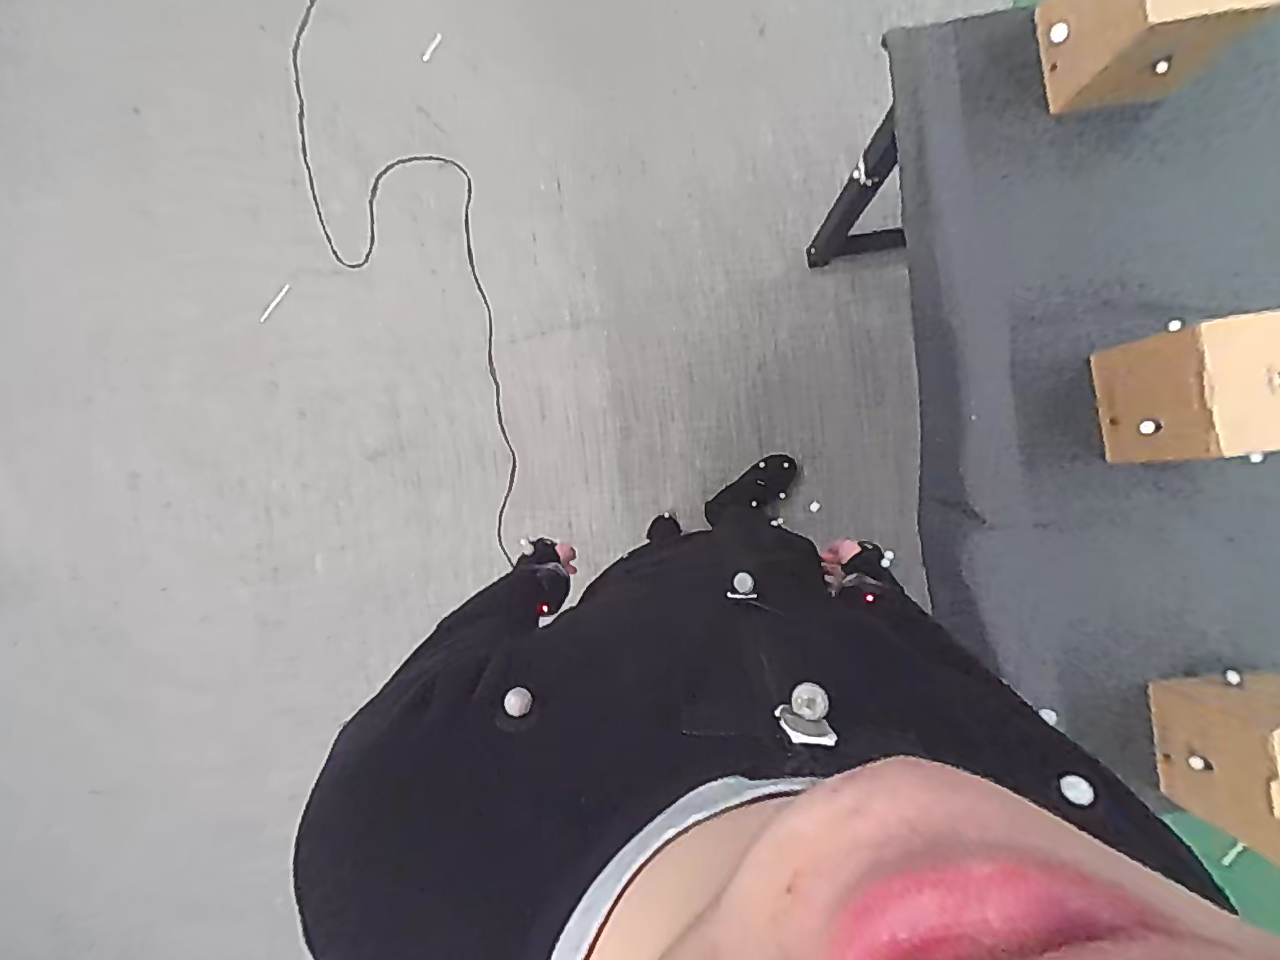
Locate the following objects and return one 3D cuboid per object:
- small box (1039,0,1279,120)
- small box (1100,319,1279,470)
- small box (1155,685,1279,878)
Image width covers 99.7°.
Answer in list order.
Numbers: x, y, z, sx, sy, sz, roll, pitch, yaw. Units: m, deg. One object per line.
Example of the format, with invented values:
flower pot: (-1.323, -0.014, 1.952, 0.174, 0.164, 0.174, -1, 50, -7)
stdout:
small box: (0.682, -0.619, 0.717, 0.179, 0.176, 0.168, -7, 89, 2)
small box: (0.753, -0.105, 0.709, 0.179, 0.176, 0.168, -8, 90, 1)
small box: (0.817, 0.377, 0.694, 0.179, 0.176, 0.168, -5, 88, 3)
